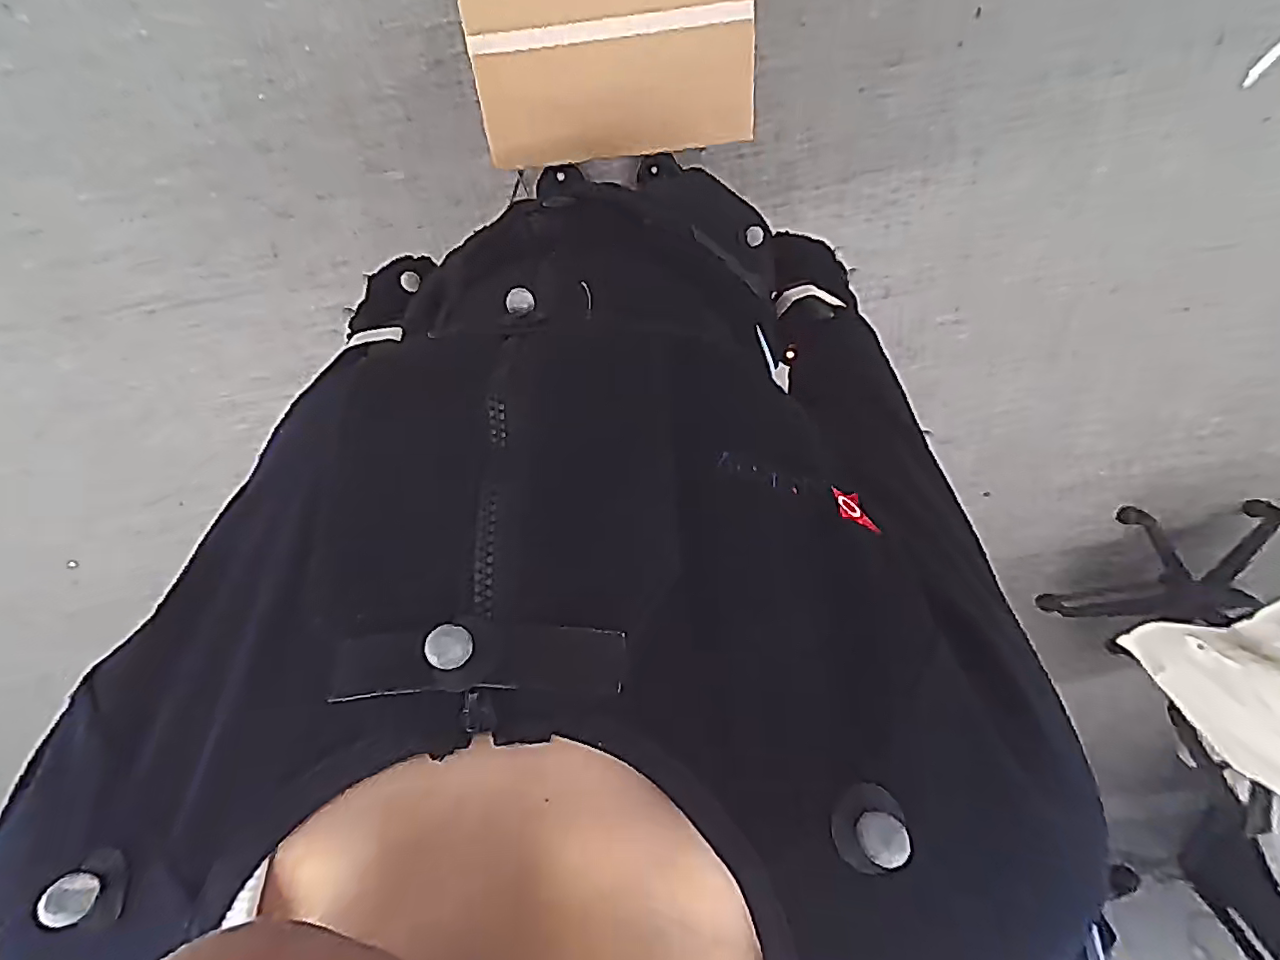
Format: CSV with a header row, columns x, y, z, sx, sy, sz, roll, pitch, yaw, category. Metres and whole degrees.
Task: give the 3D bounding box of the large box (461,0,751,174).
x,y,z,sx,sy,sz,roll,pitch,yaw,category
-0.046,-0.712,0.884,0.408,0.320,0.320,-6,122,1,large box
